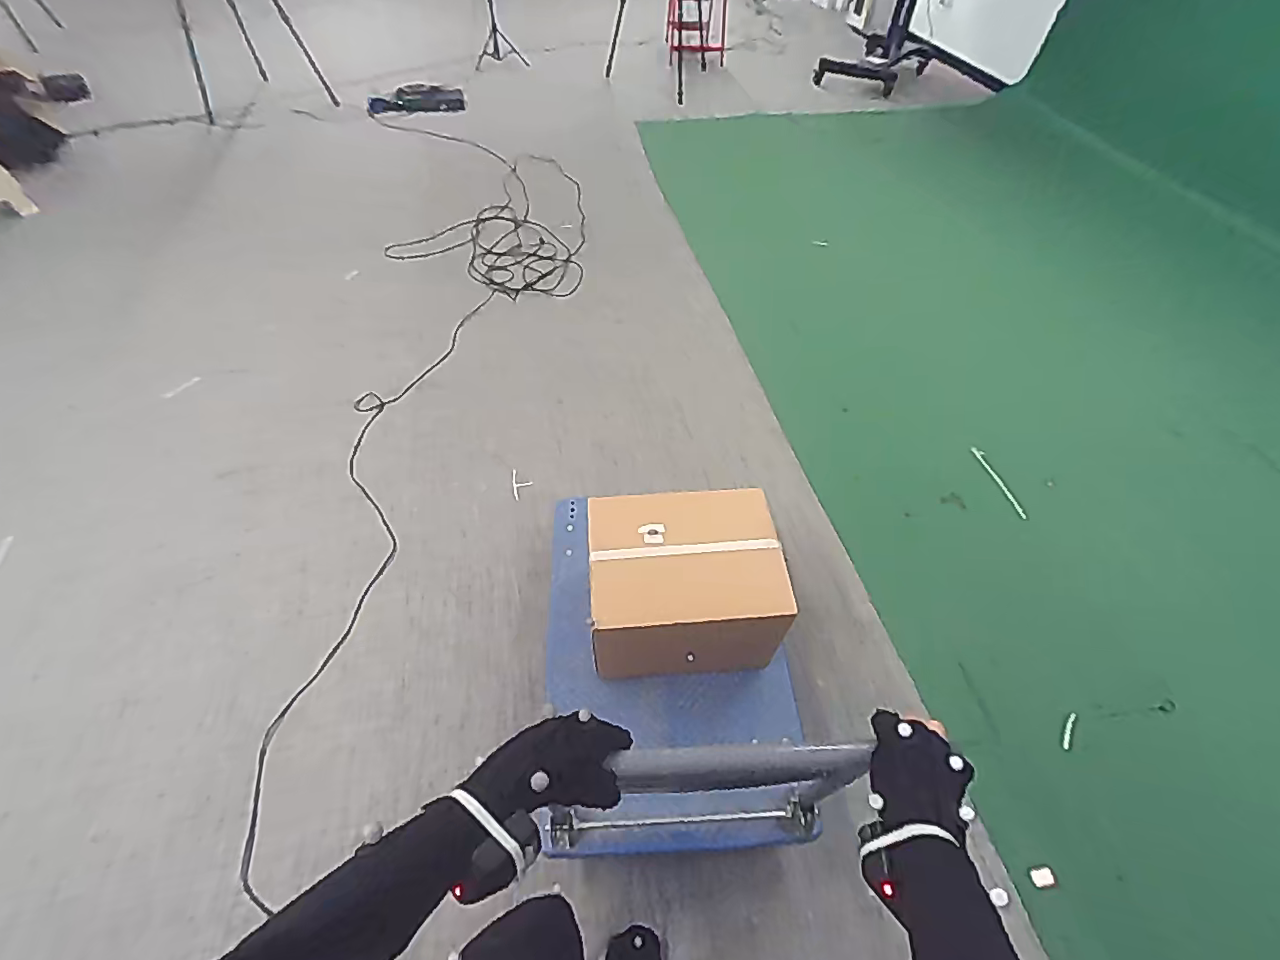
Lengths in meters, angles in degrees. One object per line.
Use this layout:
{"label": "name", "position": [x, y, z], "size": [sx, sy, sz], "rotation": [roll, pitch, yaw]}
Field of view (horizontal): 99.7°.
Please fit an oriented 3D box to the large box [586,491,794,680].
{"label": "large box", "position": [0.091, 0.250, 1.258], "size": [0.408, 0.320, 0.320], "rotation": [-4, 52, -4]}
